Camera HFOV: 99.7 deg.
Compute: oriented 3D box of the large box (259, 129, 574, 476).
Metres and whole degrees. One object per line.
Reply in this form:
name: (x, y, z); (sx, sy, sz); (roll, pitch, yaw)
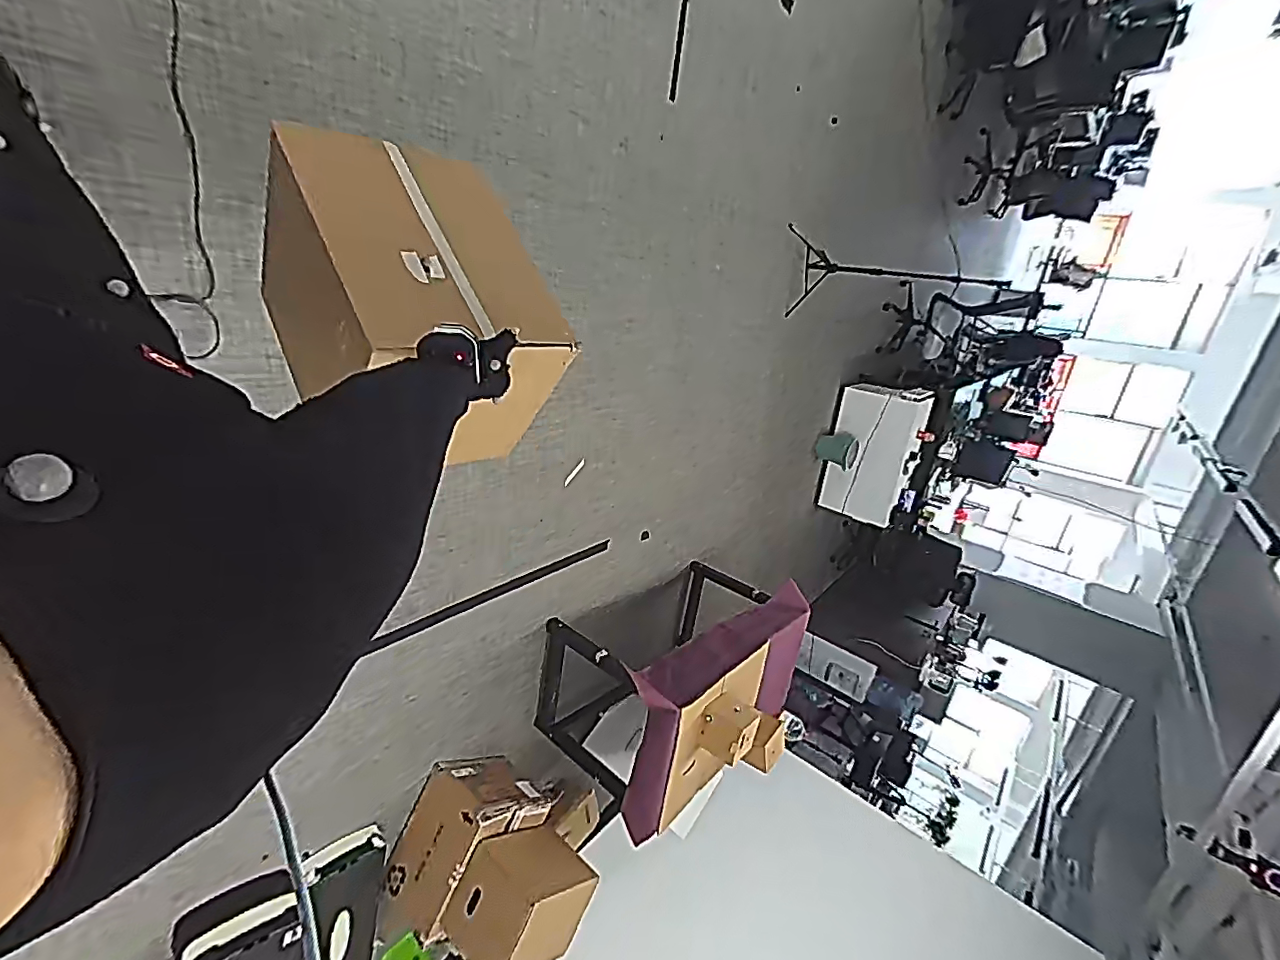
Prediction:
large box: (-0.386, -0.271, 0.902); (0.320, 0.408, 0.320); (-15, 160, -44)
